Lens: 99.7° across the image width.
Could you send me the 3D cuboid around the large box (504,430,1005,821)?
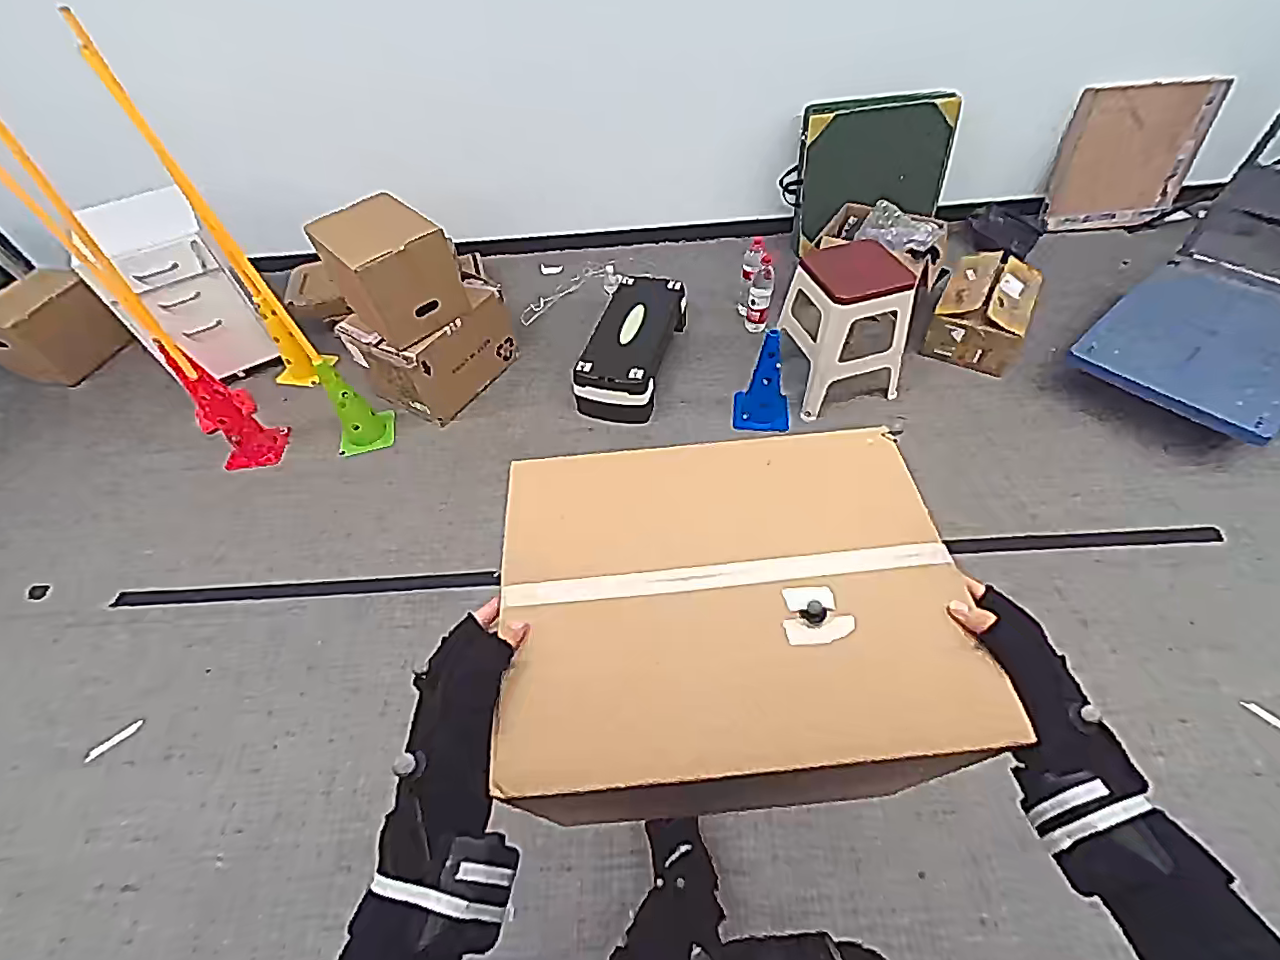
[{"bbox_3d":[0.082,0.176,0.623,0.408,0.320,0.320,-6,54,-1],"label":"large box"}]
